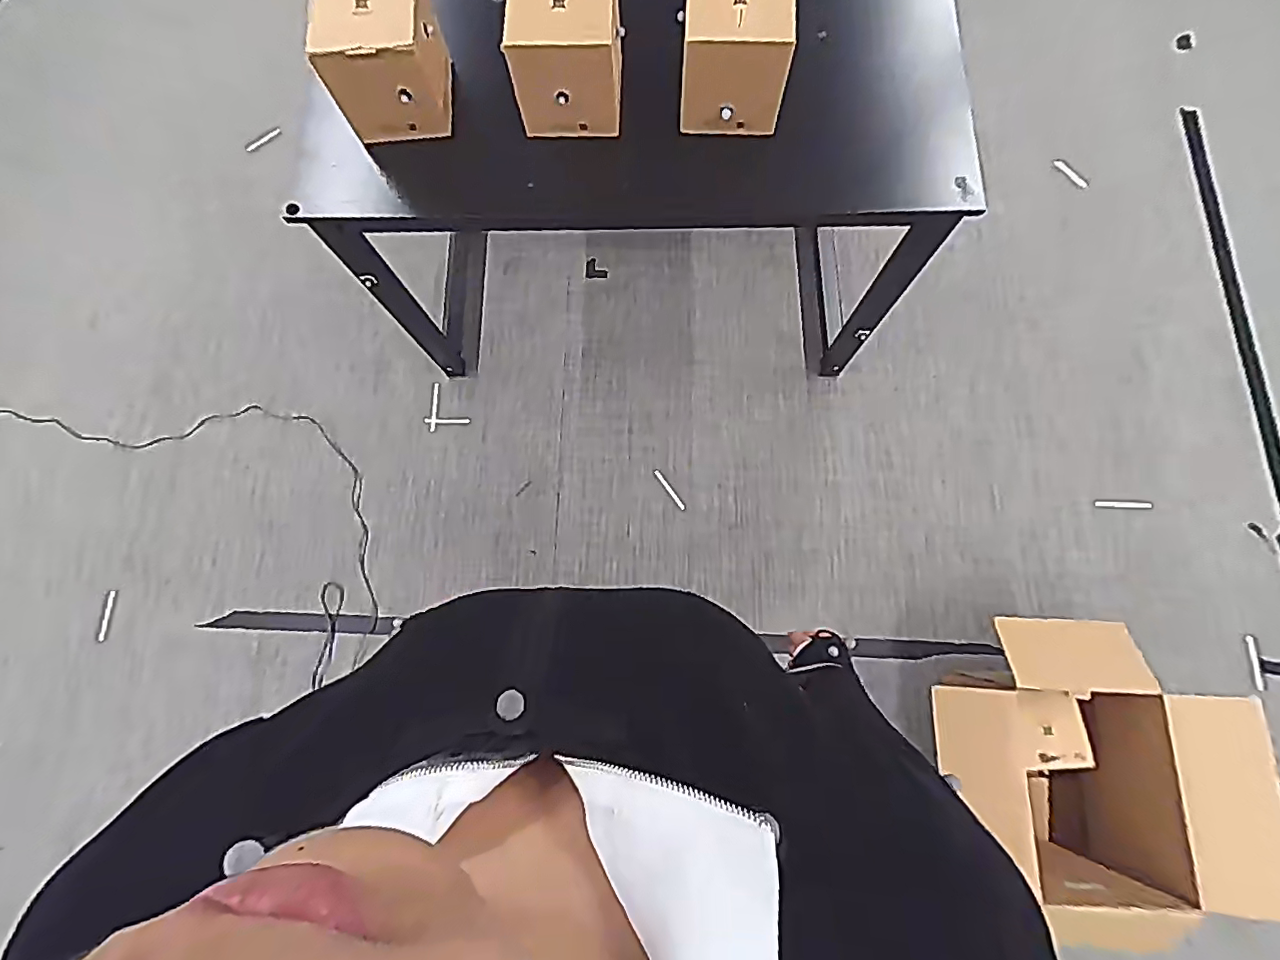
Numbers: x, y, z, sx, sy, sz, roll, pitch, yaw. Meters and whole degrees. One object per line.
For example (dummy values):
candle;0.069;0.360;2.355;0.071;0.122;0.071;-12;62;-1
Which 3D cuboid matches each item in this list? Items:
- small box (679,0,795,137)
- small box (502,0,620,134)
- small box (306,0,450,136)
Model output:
small box;0.154;-0.712;0.896;0.168;0.176;0.179;3;78;3
small box;-0.121;-0.713;0.903;0.168;0.176;0.179;1;77;1
small box;-0.429;-0.712;0.912;0.168;0.176;0.179;-4;76;-1
